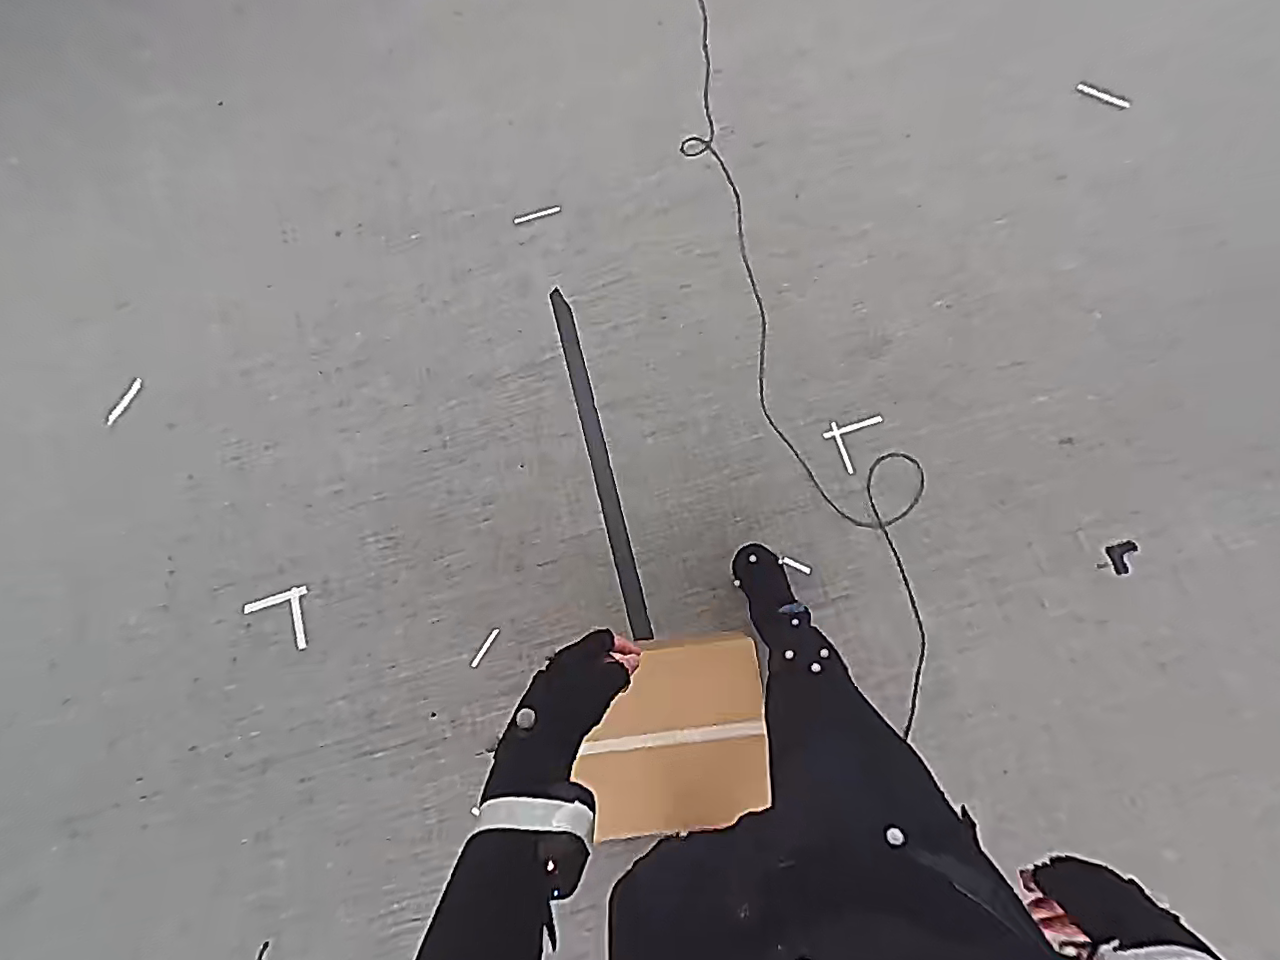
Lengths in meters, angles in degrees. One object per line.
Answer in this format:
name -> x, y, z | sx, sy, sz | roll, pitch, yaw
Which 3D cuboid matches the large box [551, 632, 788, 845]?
large box -> 0.057, 0.508, 1.132 | 0.408, 0.320, 0.320 | -8, 78, 4
